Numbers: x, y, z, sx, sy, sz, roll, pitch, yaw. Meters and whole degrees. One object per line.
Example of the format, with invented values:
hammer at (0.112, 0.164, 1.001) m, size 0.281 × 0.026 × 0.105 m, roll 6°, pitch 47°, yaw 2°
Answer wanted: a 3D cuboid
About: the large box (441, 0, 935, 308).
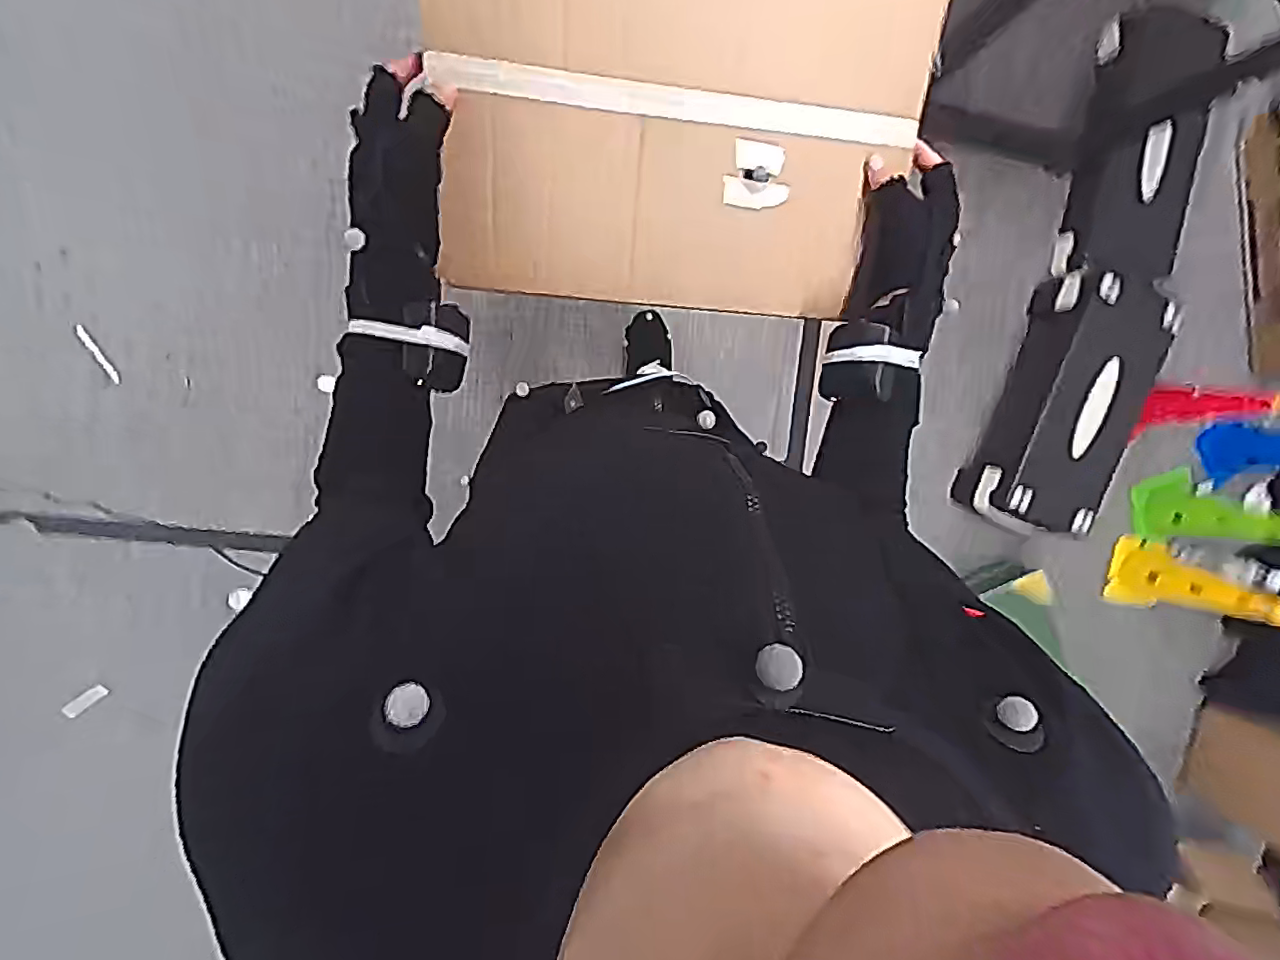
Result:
large box at (0.020, -0.374, 0.591) m, size 0.408 × 0.320 × 0.320 m, roll 2°, pitch 113°, yaw -9°
